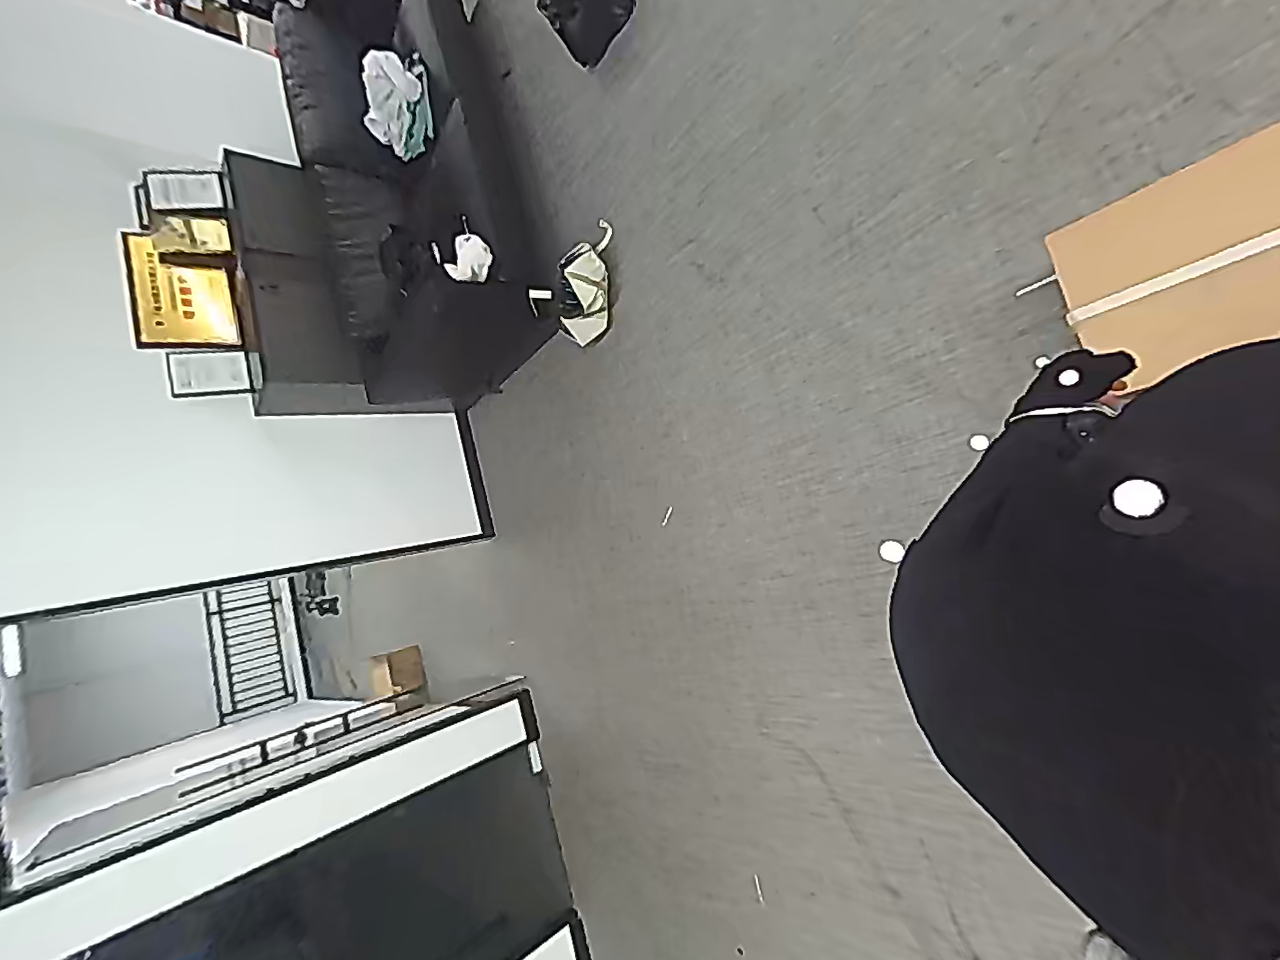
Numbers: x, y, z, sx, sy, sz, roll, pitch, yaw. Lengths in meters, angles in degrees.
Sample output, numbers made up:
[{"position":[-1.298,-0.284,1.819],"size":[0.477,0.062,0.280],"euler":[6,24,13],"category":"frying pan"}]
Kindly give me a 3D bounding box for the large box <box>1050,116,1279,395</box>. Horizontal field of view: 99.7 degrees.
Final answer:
[{"position":[1.004,-0.360,0.904],"size":[0.408,0.320,0.320],"euler":[-22,79,47],"category":"large box"}]
